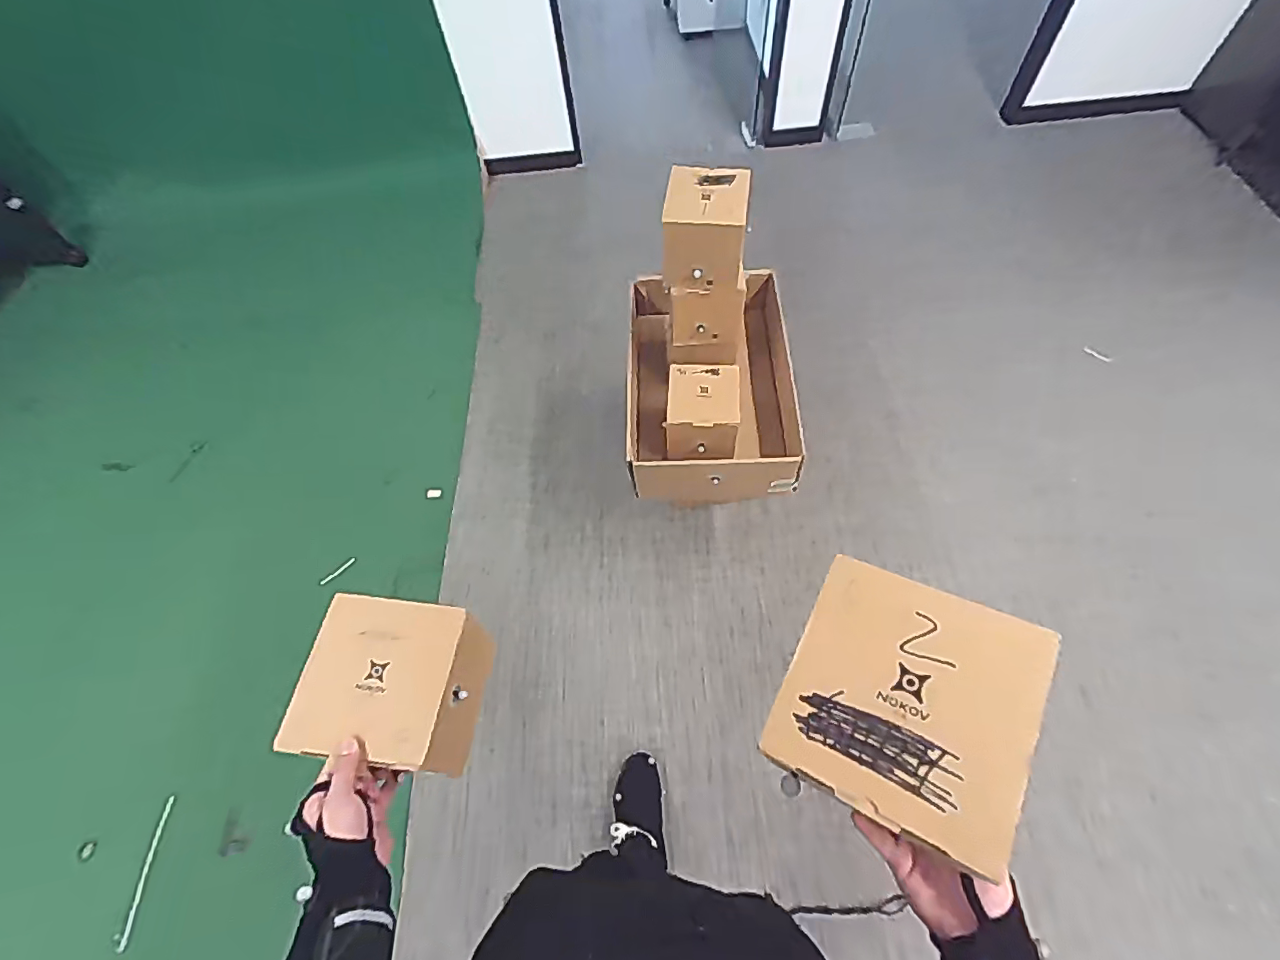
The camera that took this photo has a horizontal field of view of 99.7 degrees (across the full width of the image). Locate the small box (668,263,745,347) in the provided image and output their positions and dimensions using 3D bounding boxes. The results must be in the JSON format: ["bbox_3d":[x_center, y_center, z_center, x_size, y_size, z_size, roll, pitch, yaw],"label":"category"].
[{"bbox_3d":[0.152,-0.442,1.298,0.168,0.176,0.179,-3,62,2],"label":"small box"}]

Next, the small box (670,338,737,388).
[{"bbox_3d":[0.163,-0.366,1.440,0.168,0.176,0.179,-2,61,4],"label":"small box"}]

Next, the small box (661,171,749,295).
[{"bbox_3d":[0.137,-0.526,1.156,0.168,0.176,0.179,6,63,7],"label":"small box"}]

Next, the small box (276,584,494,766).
[{"bbox_3d":[-0.298,0.250,0.681,0.168,0.176,0.179,7,59,3],"label":"small box"}]
